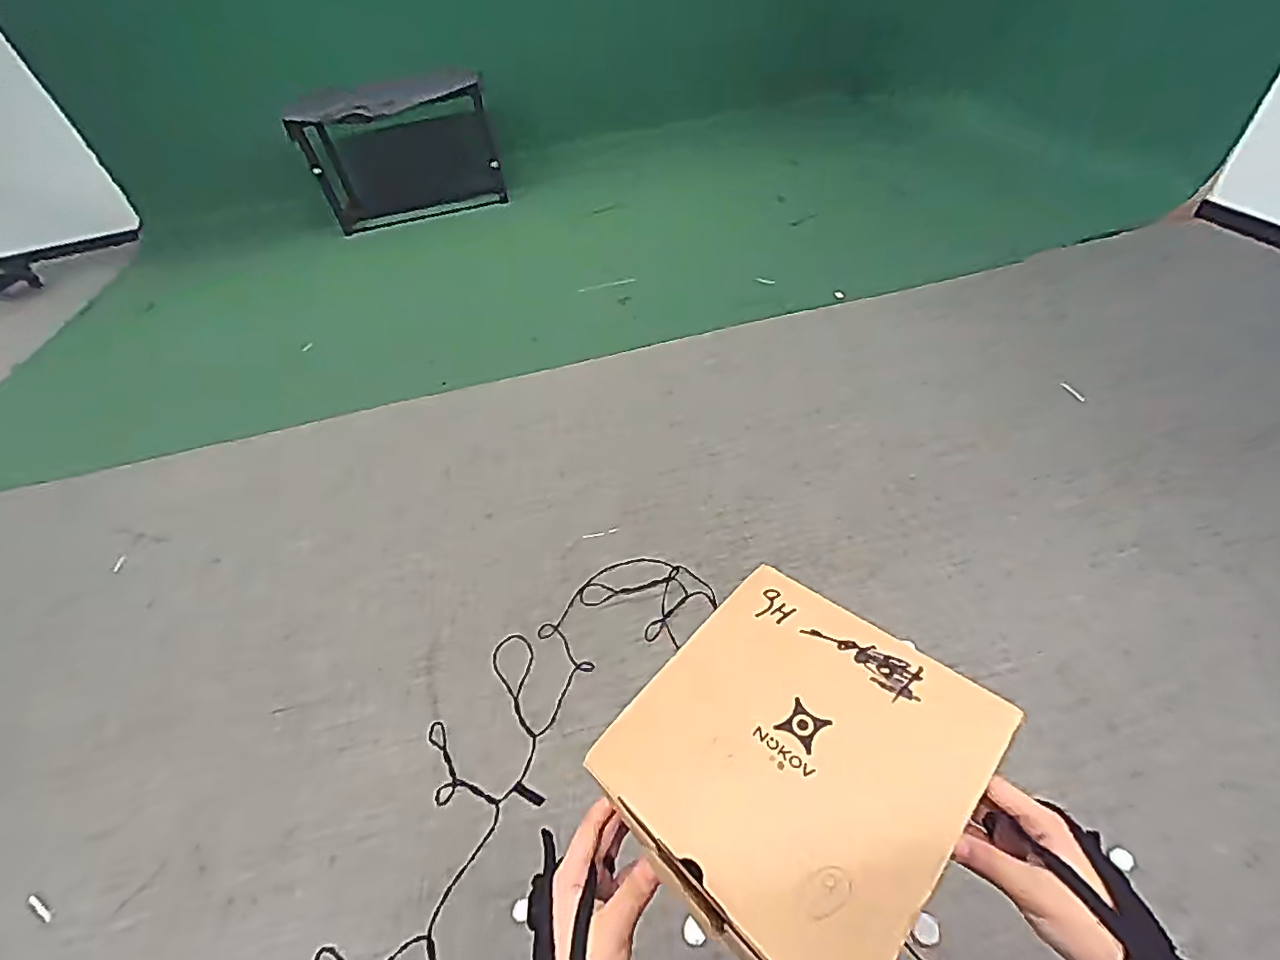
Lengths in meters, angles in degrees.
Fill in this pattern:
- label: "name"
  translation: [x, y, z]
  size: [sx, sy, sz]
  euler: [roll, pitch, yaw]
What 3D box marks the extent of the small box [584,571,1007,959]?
- label: "small box"
  translation: [0.097, 0.202, 0.351]
  size: [0.179, 0.176, 0.168]
  euler: [-40, 48, -24]
